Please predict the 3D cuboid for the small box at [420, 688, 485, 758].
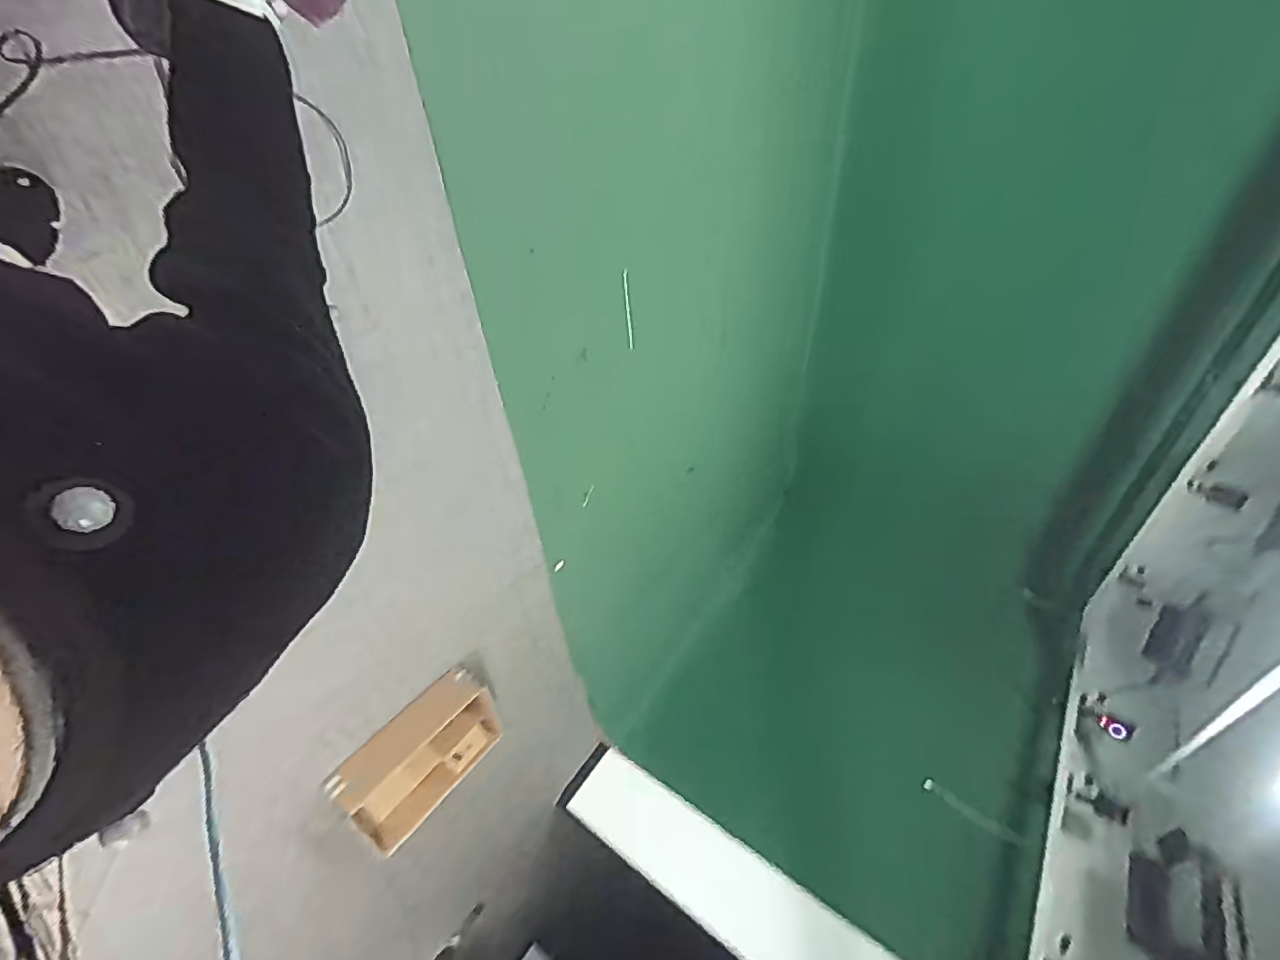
[{"bbox_3d":[-0.795,1.020,2.275,0.179,0.176,0.168,-47,145,-36],"label":"small box"}]
